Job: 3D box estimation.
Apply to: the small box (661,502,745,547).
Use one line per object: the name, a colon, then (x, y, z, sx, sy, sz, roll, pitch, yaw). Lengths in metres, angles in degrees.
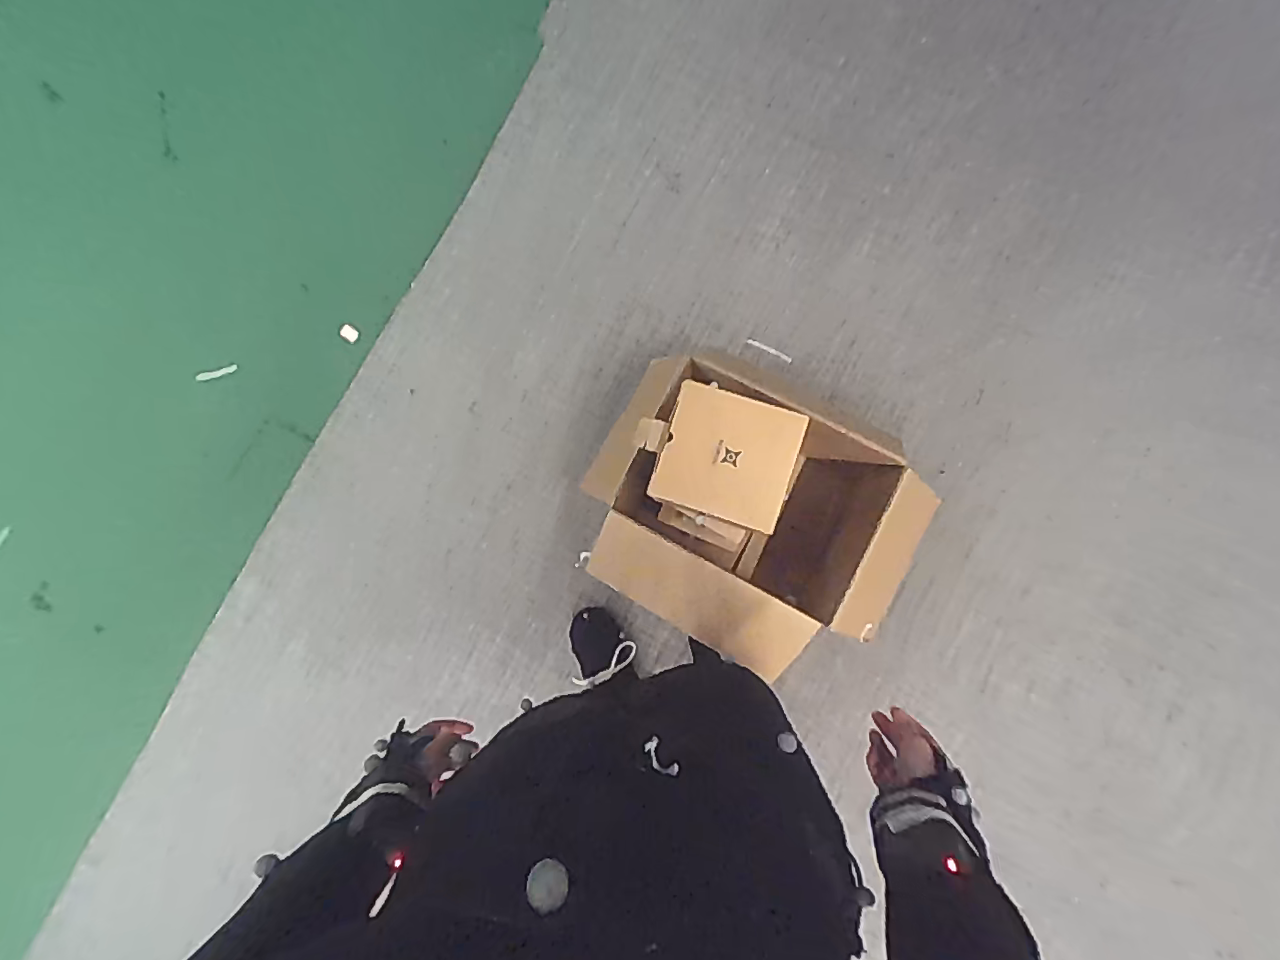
small box: (0.136, -0.001, 0.957, 0.168, 0.176, 0.179, 31, 90, 6)

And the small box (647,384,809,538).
small box: (0.124, -0.022, 0.796, 0.179, 0.176, 0.168, 19, 87, 7)
